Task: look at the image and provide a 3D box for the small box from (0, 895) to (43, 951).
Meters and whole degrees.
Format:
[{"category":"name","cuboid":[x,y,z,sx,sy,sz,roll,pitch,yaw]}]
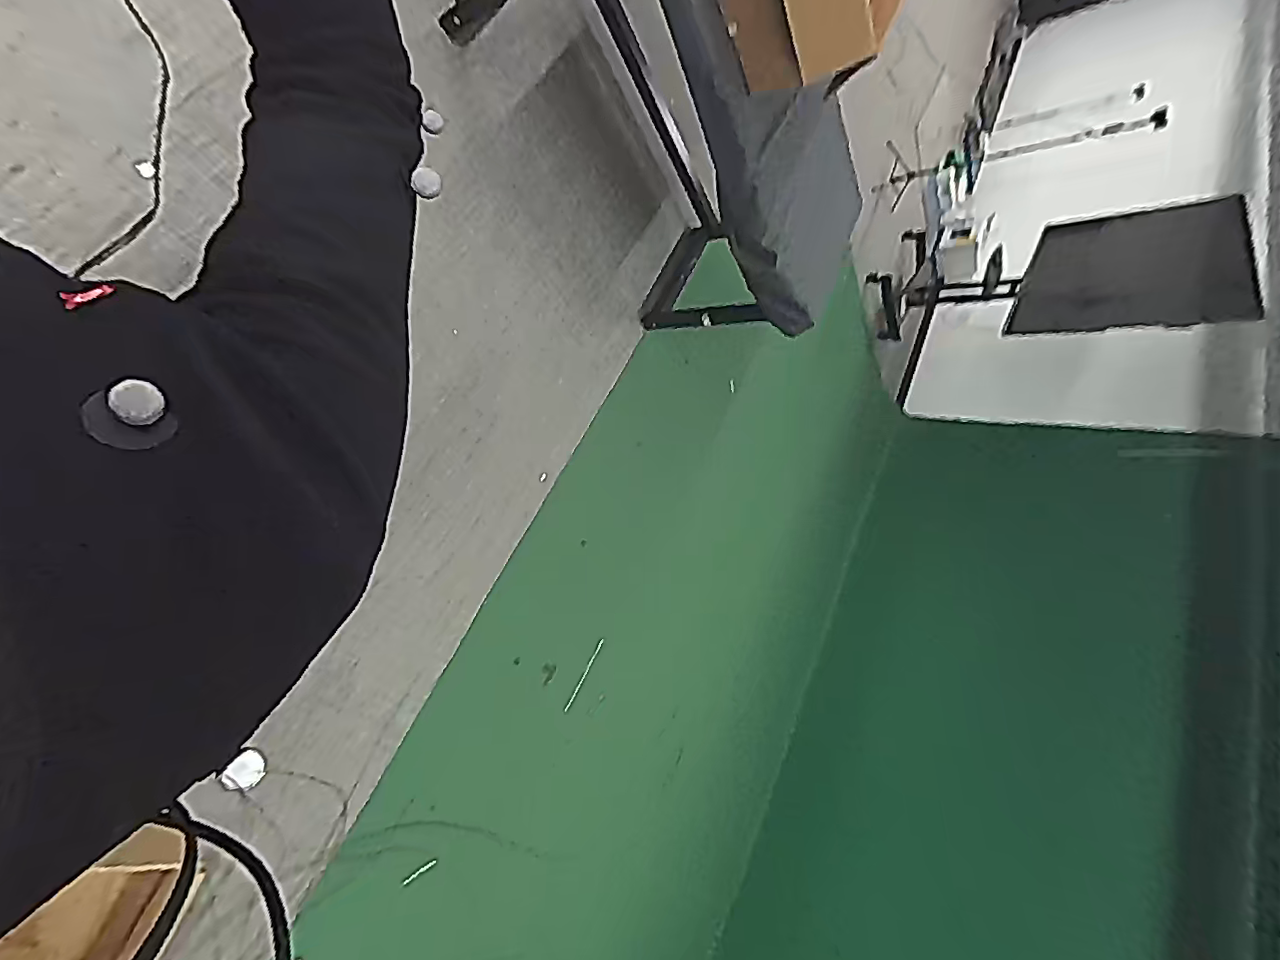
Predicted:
[{"category":"small box","cuboid":[-1.171,0.836,0.908,0.179,0.176,0.168,41,65,-45]}]
